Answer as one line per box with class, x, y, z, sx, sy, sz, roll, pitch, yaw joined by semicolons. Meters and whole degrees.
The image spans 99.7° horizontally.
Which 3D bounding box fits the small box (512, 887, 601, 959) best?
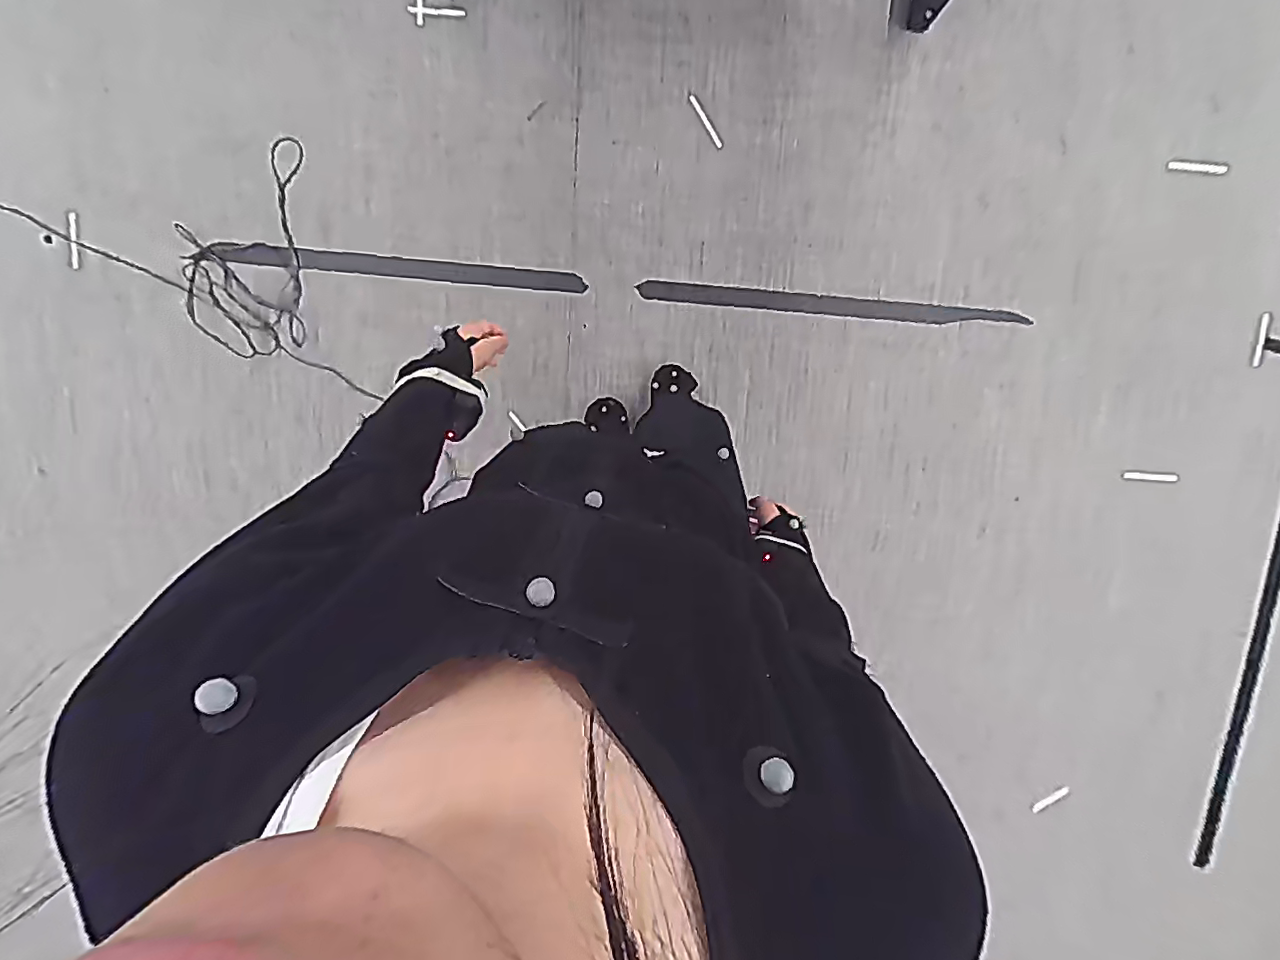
small box;-0.170;0.956;1.070;0.168;0.176;0.179;8;98;-2
